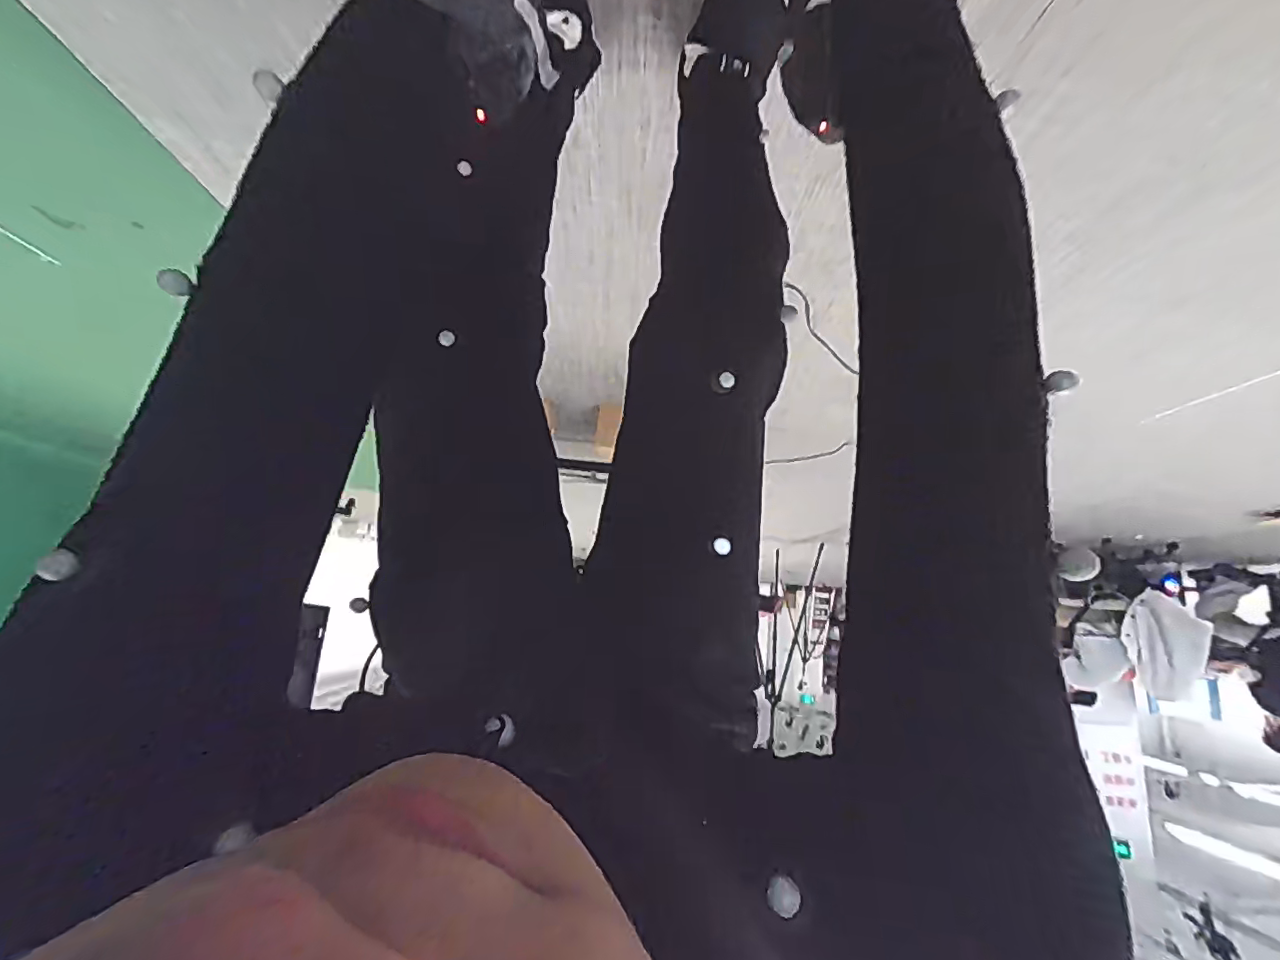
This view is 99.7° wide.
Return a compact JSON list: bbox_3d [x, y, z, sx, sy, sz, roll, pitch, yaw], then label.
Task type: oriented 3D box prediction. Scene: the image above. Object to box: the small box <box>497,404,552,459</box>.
[{"bbox_3d":[-0.447,-0.190,2.112,0.168,0.176,0.179,5,167,2],"label":"small box"}]
